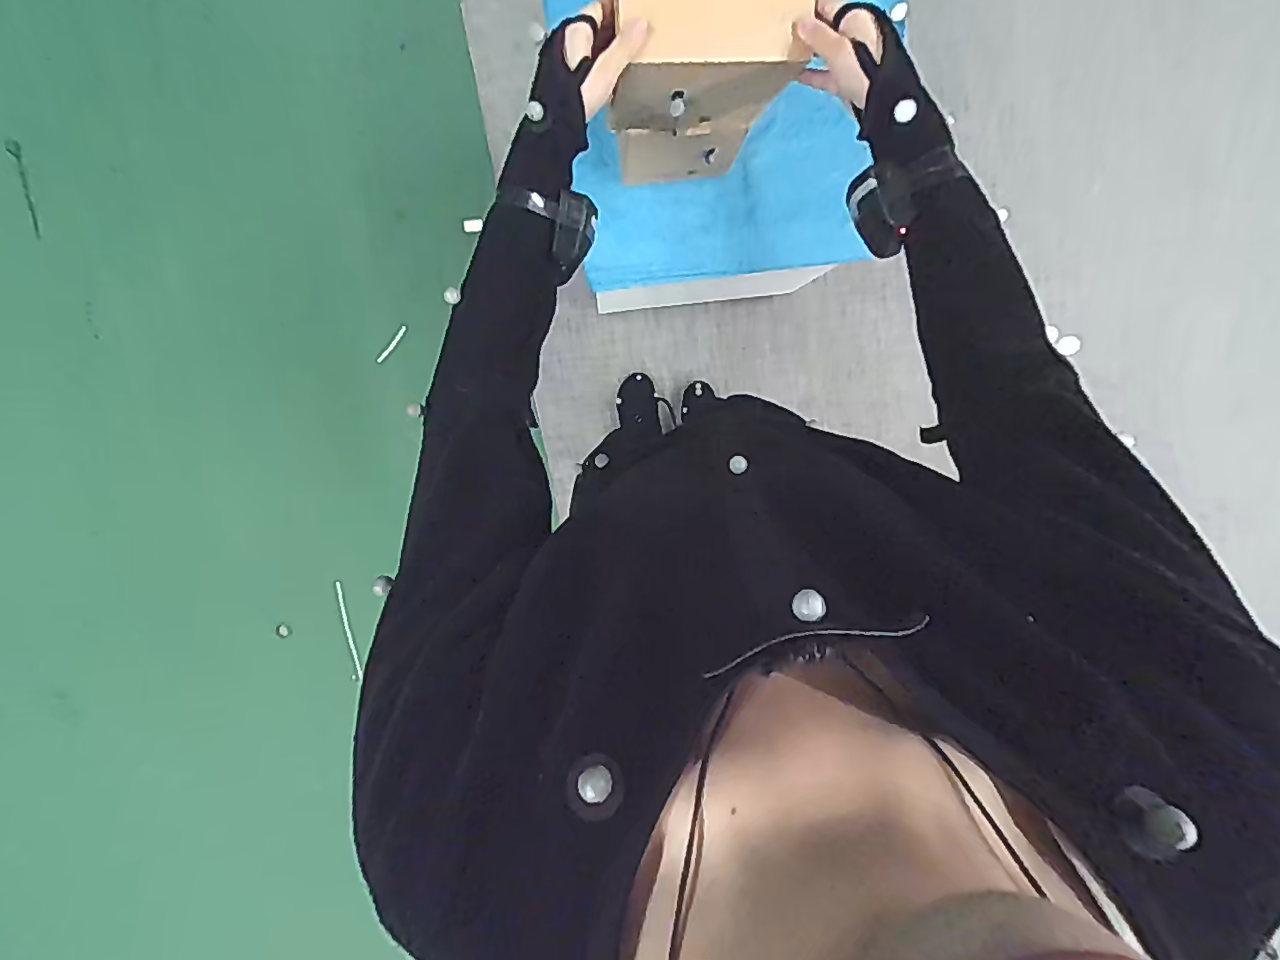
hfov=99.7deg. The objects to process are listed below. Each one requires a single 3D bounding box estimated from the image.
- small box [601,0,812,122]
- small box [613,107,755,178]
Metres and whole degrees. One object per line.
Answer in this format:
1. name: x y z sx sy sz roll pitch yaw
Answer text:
1. small box: 0.051 -0.454 0.500 0.168 0.176 0.179 -5 105 -5
2. small box: 0.050 -0.531 0.734 0.168 0.176 0.179 -7 98 -3
